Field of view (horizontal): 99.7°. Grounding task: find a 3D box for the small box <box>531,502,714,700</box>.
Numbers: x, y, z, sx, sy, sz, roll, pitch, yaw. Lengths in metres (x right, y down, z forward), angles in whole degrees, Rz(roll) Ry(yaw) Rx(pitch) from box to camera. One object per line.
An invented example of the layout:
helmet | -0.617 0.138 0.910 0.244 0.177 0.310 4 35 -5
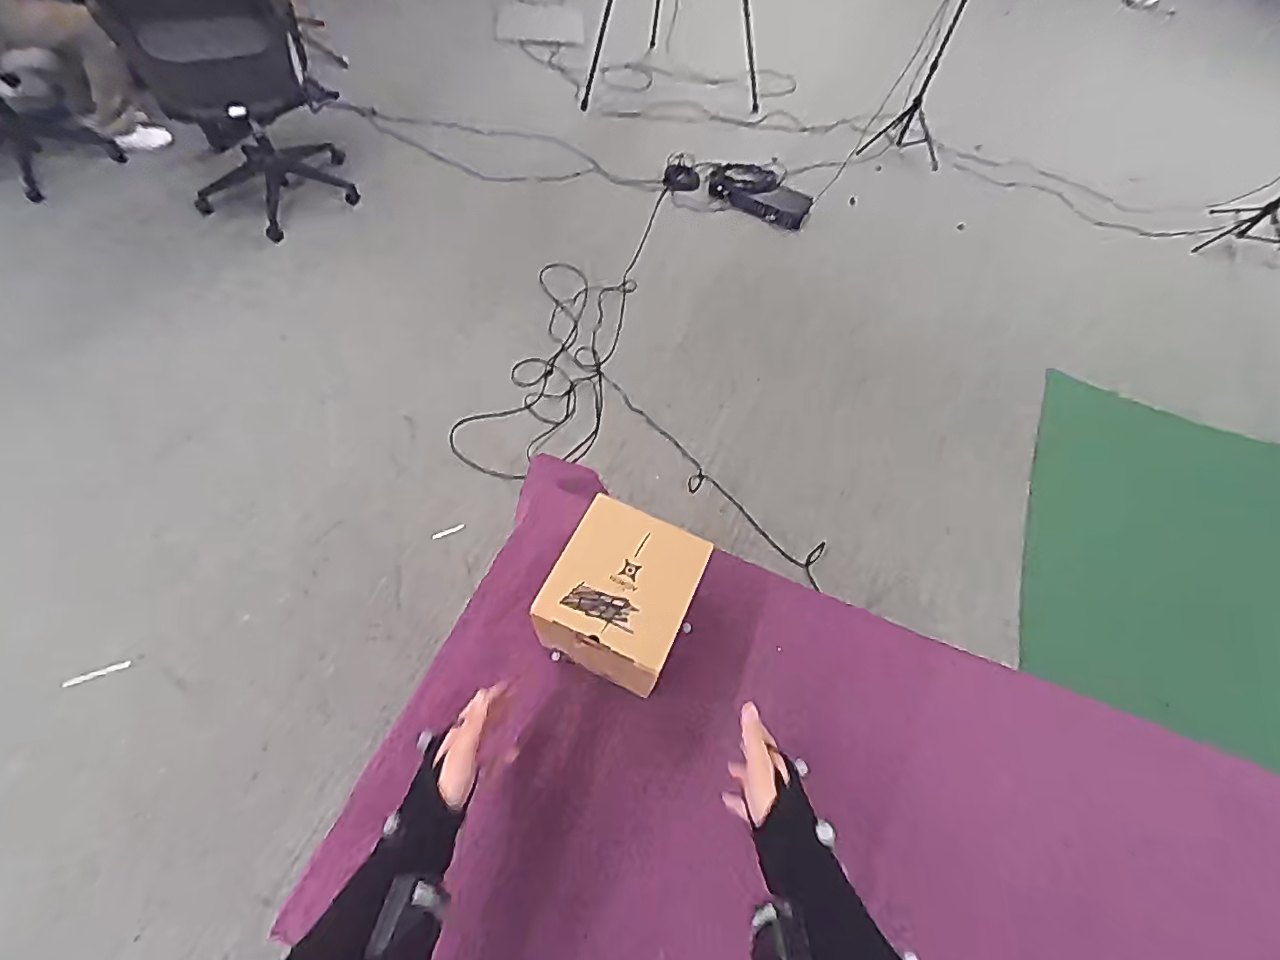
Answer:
small box | -0.022 0.166 0.709 0.168 0.176 0.179 24 60 8
